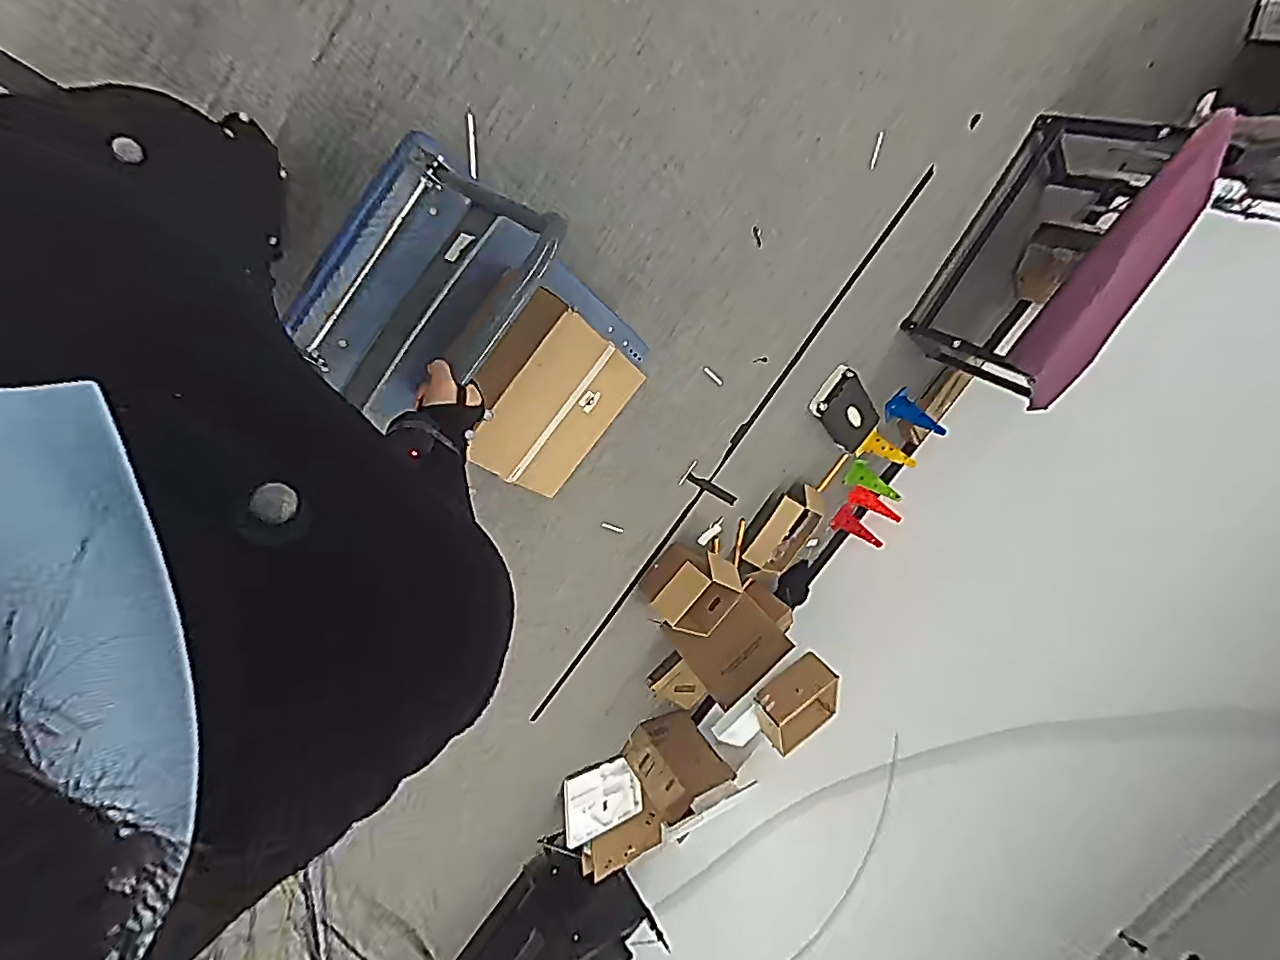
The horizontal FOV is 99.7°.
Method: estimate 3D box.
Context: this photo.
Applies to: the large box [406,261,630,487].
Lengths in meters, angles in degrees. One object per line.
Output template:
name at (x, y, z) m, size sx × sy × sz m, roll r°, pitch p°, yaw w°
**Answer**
large box at (-0.311, -0.261, 1.365) m, size 0.408 × 0.320 × 0.320 m, roll -53°, pitch 142°, yaw 4°
